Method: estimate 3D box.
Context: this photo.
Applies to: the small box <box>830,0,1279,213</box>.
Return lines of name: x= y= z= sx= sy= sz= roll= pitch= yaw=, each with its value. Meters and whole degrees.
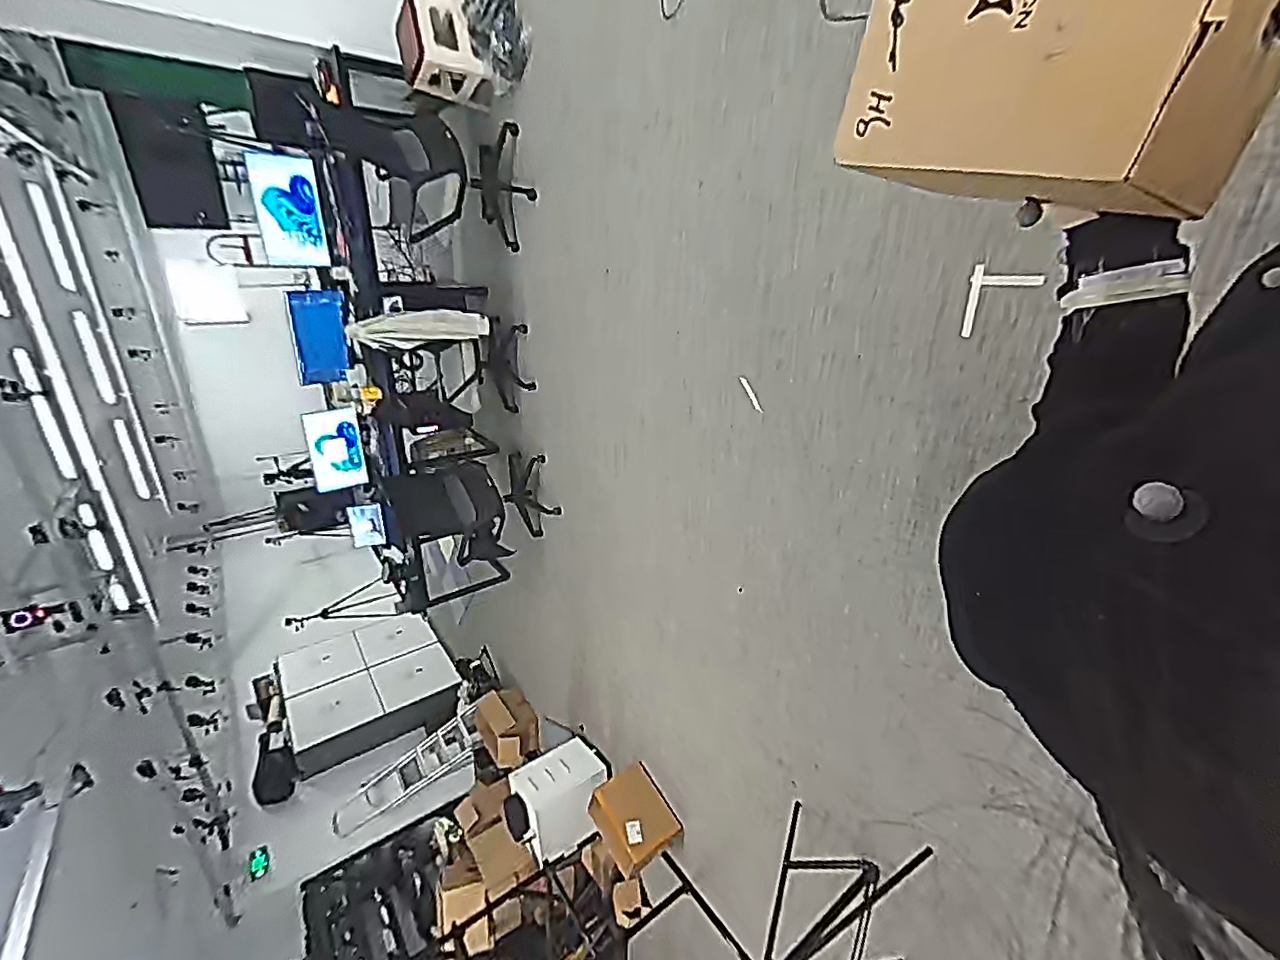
small box: x=0.255 y=-0.263 z=0.322 sx=0.179 sy=0.176 sz=0.168 roll=38 pitch=129 yaw=43
